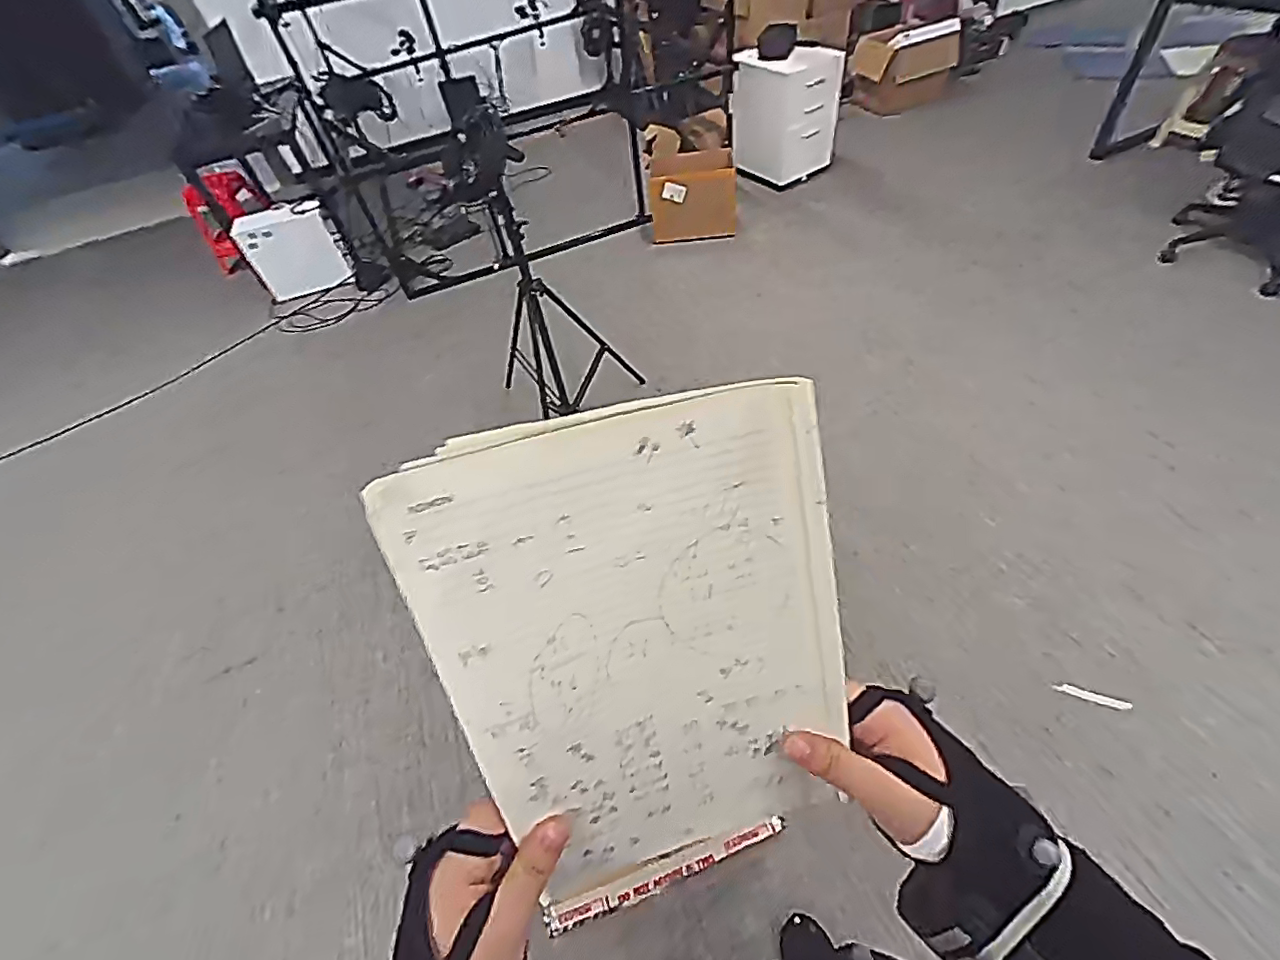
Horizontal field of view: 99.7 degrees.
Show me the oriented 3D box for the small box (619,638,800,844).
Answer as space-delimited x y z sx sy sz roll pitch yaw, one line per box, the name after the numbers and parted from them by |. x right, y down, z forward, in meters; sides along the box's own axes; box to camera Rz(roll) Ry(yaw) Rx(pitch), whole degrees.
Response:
0.081 0.342 0.706 0.168 0.176 0.179 -19 52 -10 | small box

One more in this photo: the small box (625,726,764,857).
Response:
0.092 0.447 0.833 0.179 0.176 0.168 -22 52 -11 | small box
